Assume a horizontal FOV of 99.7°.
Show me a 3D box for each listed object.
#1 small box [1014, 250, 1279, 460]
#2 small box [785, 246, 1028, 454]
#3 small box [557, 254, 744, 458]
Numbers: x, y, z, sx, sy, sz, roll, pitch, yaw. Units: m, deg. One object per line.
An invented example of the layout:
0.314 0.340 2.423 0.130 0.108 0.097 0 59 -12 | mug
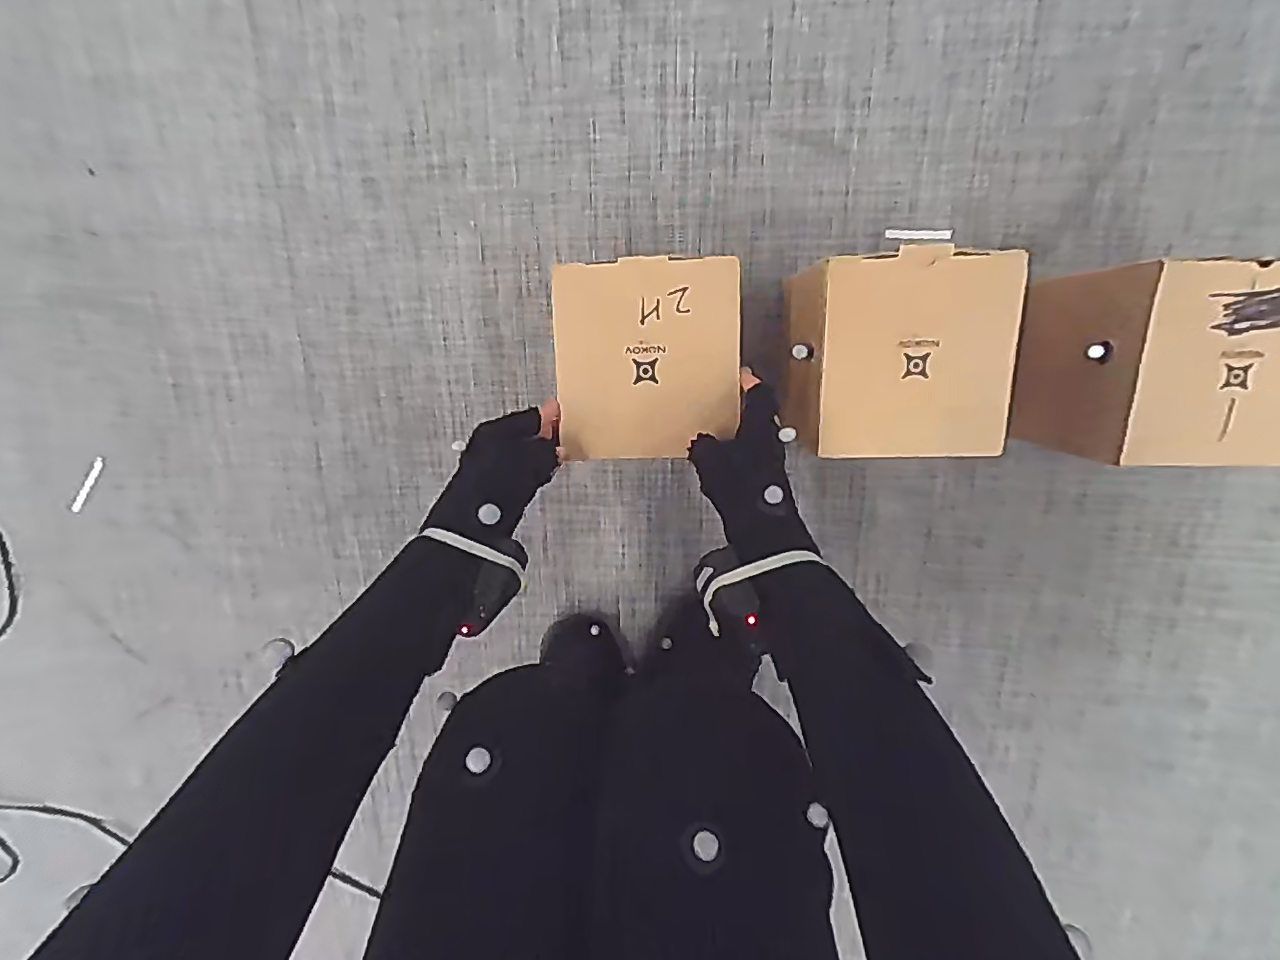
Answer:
0.511 -0.121 0.536 0.168 0.176 0.179 -1 104 3 | small box
0.248 -0.128 0.551 0.168 0.176 0.179 -1 103 3 | small box
0.015 -0.121 0.558 0.168 0.176 0.179 -1 99 3 | small box
